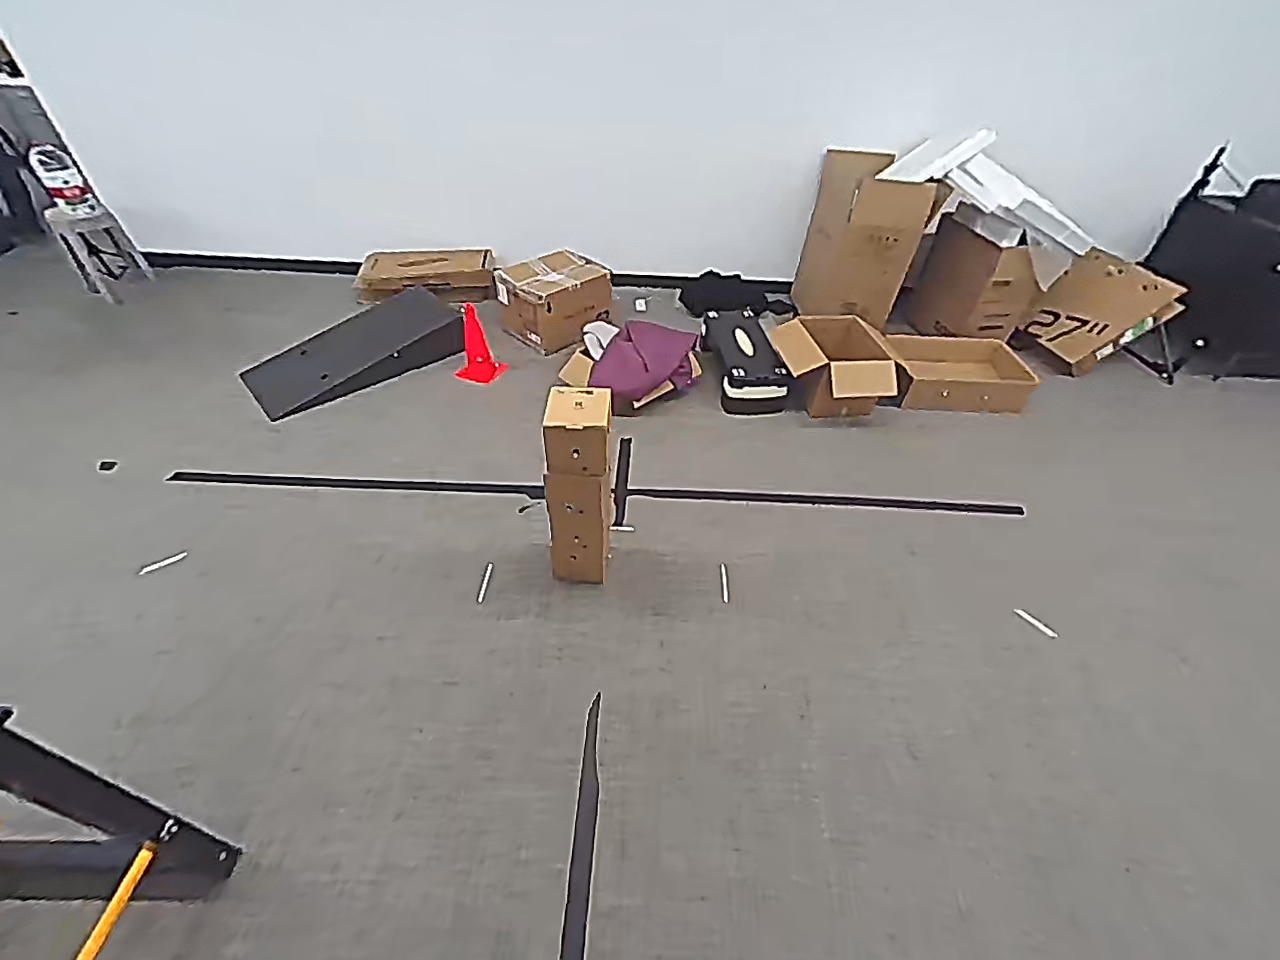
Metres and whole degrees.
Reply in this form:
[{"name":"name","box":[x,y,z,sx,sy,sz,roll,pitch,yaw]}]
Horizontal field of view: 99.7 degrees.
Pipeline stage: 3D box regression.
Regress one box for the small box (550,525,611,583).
[{"name":"small box","box":[-0.193,0.229,1.816,0.179,0.176,0.168,6,44,2]}]

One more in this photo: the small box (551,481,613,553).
[{"name":"small box","box":[-0.179,0.106,1.707,0.168,0.176,0.179,5,44,3]}]

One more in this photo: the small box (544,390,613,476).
[{"name":"small box","box":[-0.161,-0.127,1.479,0.168,0.176,0.179,2,44,0]}]

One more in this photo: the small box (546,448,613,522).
[{"name":"small box","box":[-0.173,-0.002,1.585,0.168,0.176,0.179,5,44,3]}]
